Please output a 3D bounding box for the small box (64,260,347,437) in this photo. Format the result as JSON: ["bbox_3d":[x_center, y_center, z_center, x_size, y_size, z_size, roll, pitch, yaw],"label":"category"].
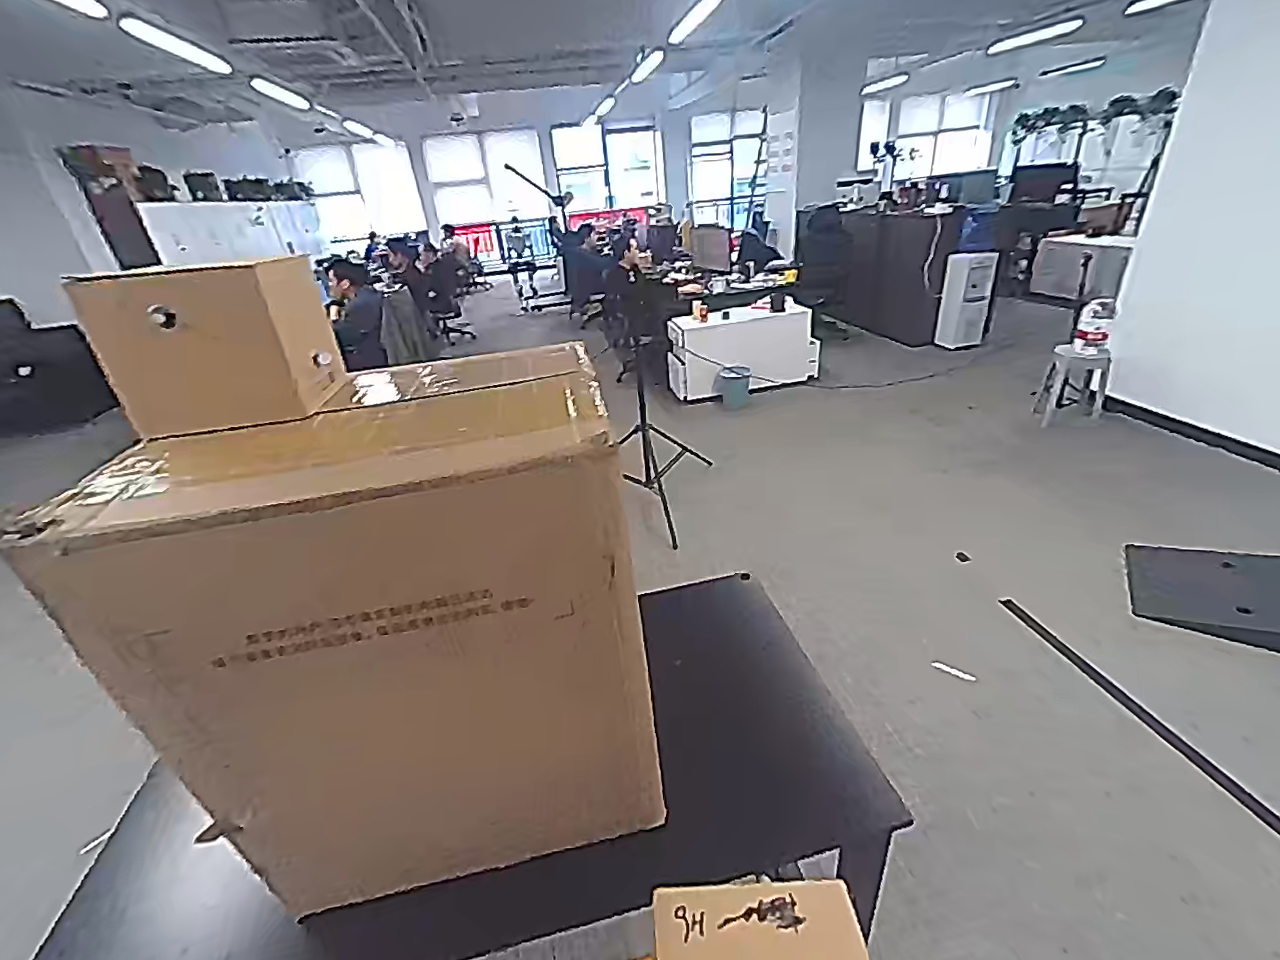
[{"bbox_3d":[-0.483,-0.159,0.639,0.179,0.176,0.168,-9,27,-8],"label":"small box"}]

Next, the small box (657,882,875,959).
[{"bbox_3d":[0.100,0.455,0.422,0.168,0.176,0.179,-1,30,-2],"label":"small box"}]
